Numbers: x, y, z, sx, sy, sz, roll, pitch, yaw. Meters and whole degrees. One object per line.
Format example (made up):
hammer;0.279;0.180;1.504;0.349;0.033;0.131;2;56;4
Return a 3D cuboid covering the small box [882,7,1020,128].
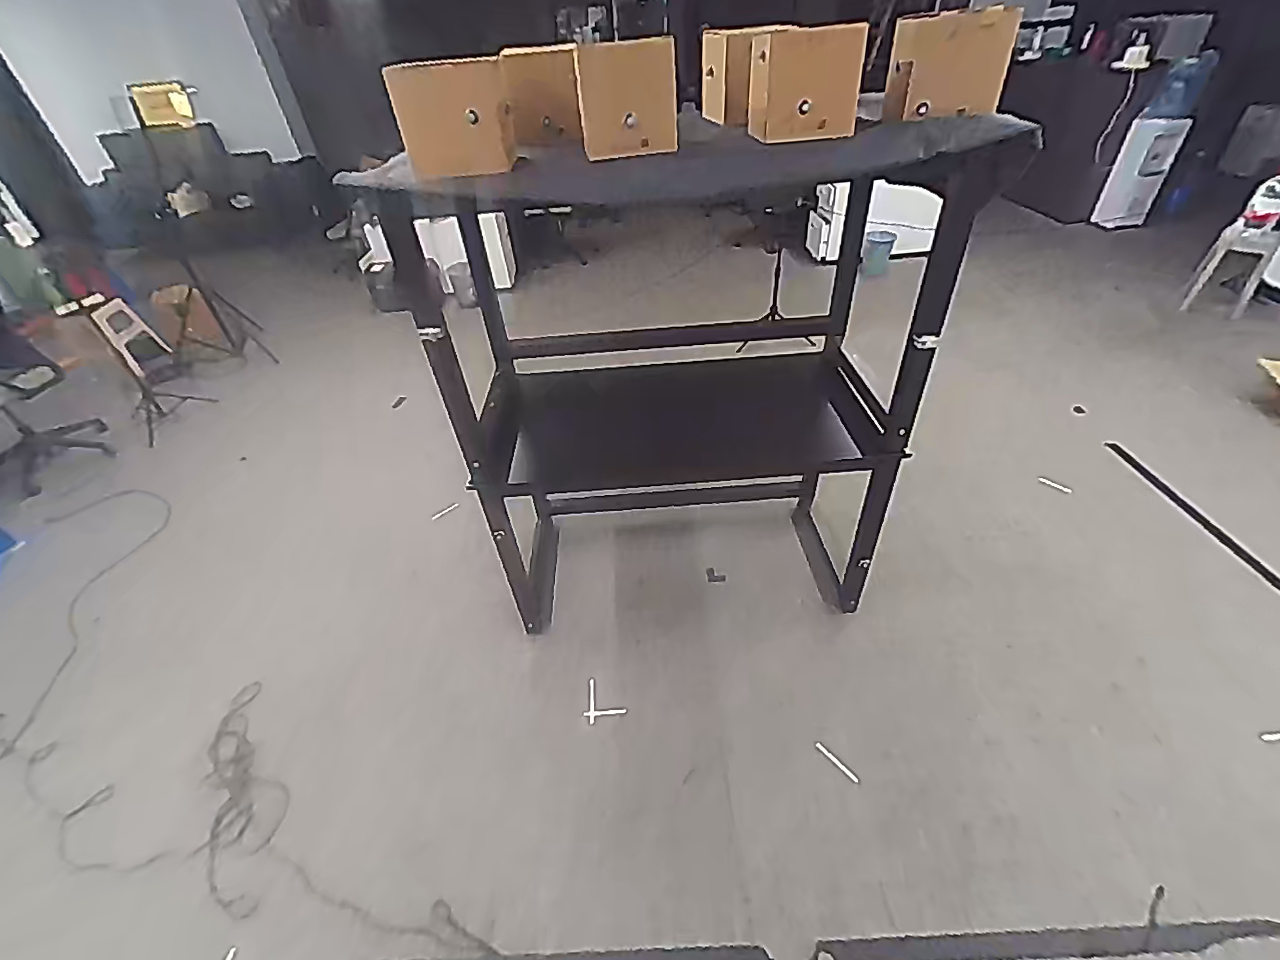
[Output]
small box;0.579;-0.783;1.035;0.168;0.176;0.179;1;39;8

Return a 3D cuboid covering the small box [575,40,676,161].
small box;-0.028;-0.704;1.009;0.168;0.176;0.179;-8;38;-3

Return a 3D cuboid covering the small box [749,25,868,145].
small box;0.306;-0.745;1.024;0.168;0.176;0.179;-5;39;1

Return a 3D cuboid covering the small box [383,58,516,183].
small box;-0.334;-0.661;0.993;0.179;0.176;0.168;-5;40;-1

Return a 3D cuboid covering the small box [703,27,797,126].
small box;0.245;-0.932;1.252;0.168;0.176;0.179;-11;40;-6
